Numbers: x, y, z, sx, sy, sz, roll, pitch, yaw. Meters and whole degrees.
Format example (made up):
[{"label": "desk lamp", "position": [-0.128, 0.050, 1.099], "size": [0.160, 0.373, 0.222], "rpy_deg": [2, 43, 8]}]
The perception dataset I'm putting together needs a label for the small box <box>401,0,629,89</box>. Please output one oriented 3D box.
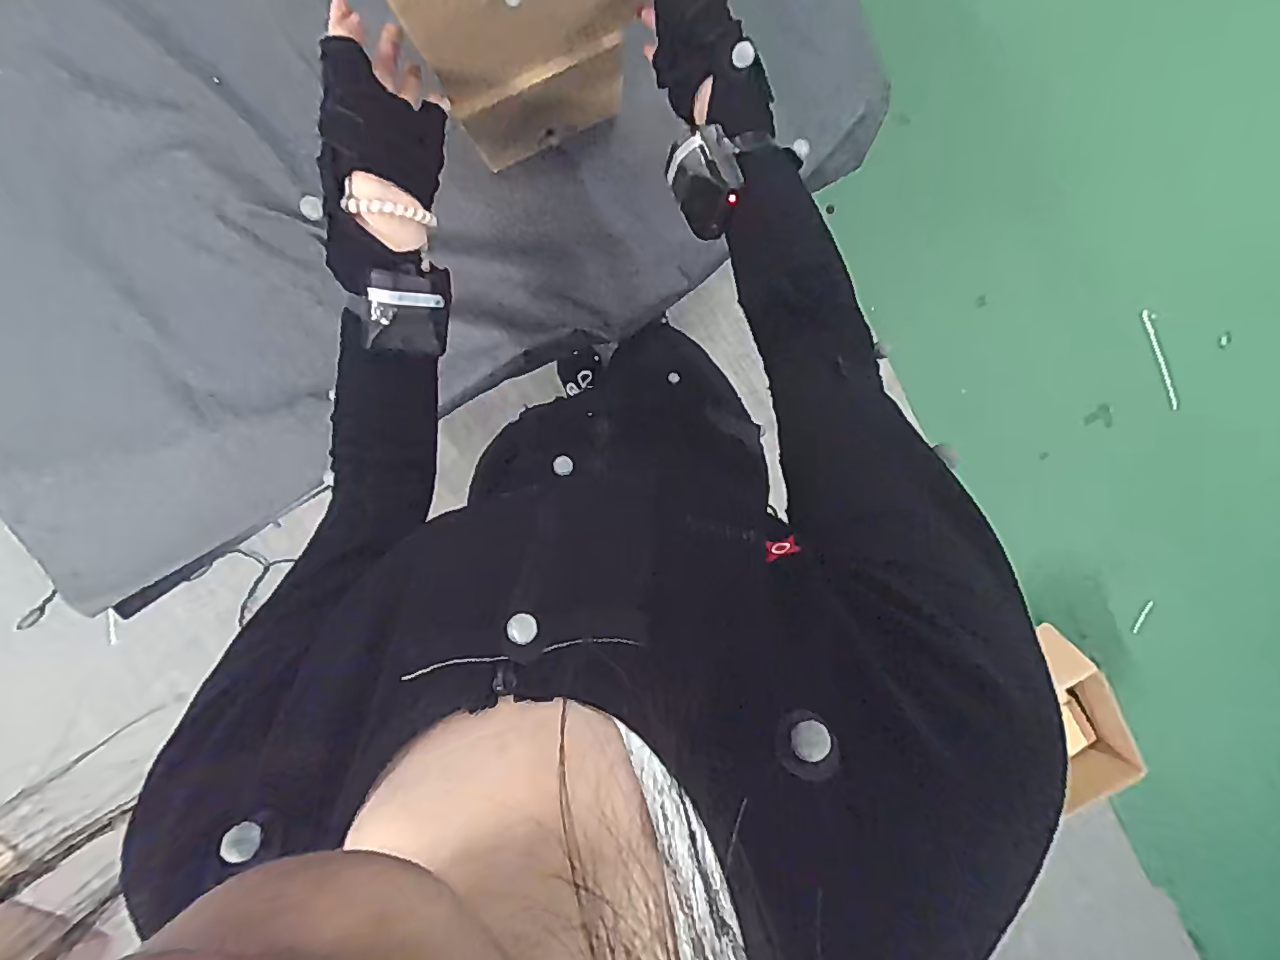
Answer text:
[{"label": "small box", "position": [-0.108, -0.420, 0.377], "size": [0.179, 0.176, 0.168], "rpy_deg": [-23, 106, 3]}]
